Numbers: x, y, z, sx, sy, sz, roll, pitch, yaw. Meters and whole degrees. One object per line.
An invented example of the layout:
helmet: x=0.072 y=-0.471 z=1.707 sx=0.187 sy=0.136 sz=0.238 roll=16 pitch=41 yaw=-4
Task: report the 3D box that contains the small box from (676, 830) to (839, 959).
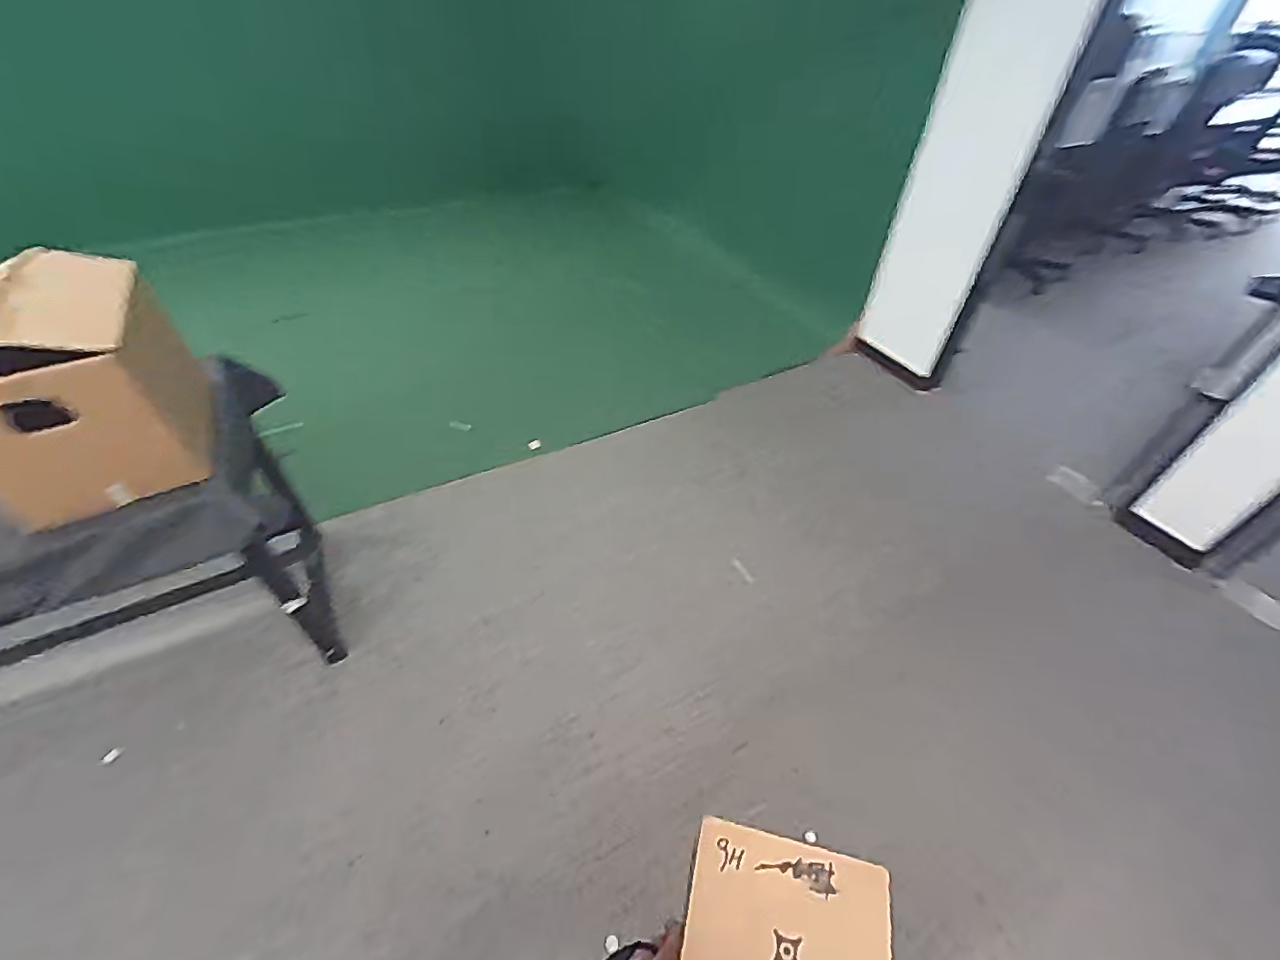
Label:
small box: x=0.131 y=0.541 z=0.633 sx=0.168 sy=0.176 sz=0.179 roll=7 pitch=50 yaw=9
